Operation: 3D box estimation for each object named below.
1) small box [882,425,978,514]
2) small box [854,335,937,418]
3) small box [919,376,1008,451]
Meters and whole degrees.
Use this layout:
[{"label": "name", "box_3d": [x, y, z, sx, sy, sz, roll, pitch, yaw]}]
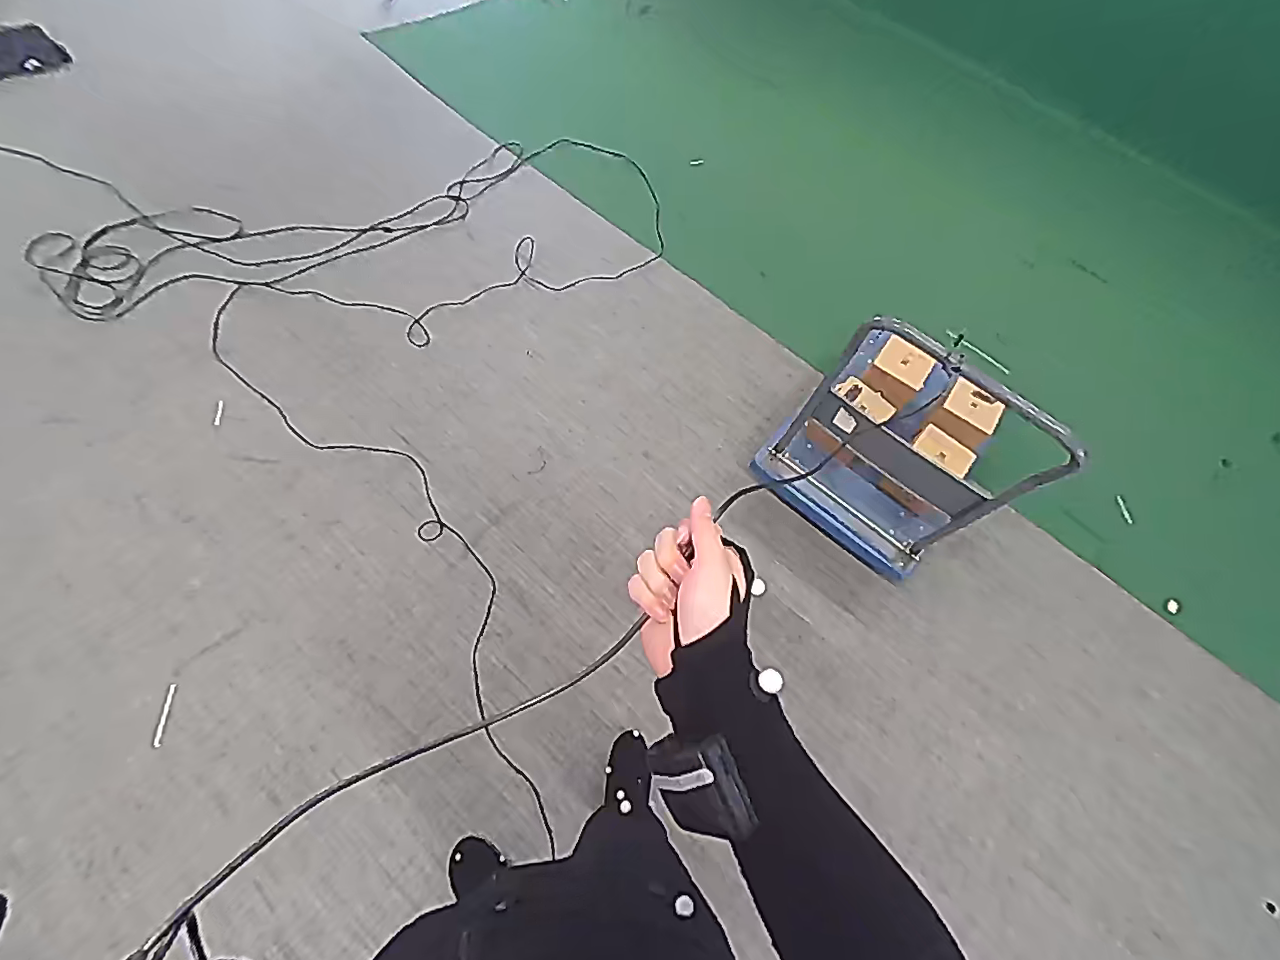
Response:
[{"label": "small box", "box_3d": [0.880, -0.029, 1.654, 0.168, 0.176, 0.179, 40, 64, 13]}, {"label": "small box", "box_3d": [0.851, -0.343, 1.820, 0.168, 0.176, 0.179, 36, 63, 10]}, {"label": "small box", "box_3d": [1.053, -0.200, 1.772, 0.168, 0.176, 0.179, 35, 64, 12]}]
